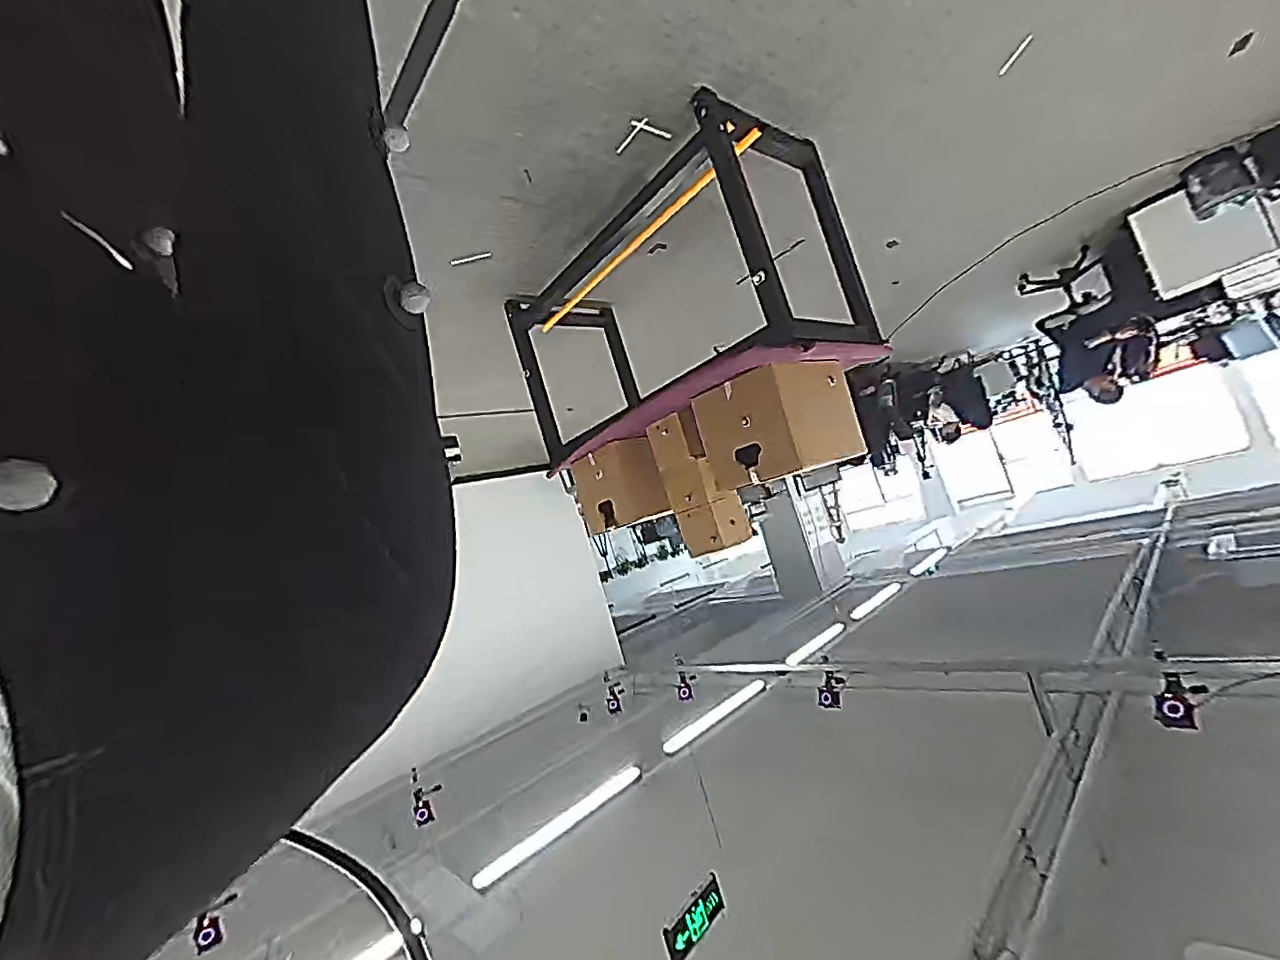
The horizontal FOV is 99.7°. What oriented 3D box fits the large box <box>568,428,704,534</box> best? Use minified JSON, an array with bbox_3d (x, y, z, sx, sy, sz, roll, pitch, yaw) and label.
[{"bbox_3d":[-0.018,-0.002,2.197,0.408,0.320,0.320,-13,175,-43],"label":"large box"}]
